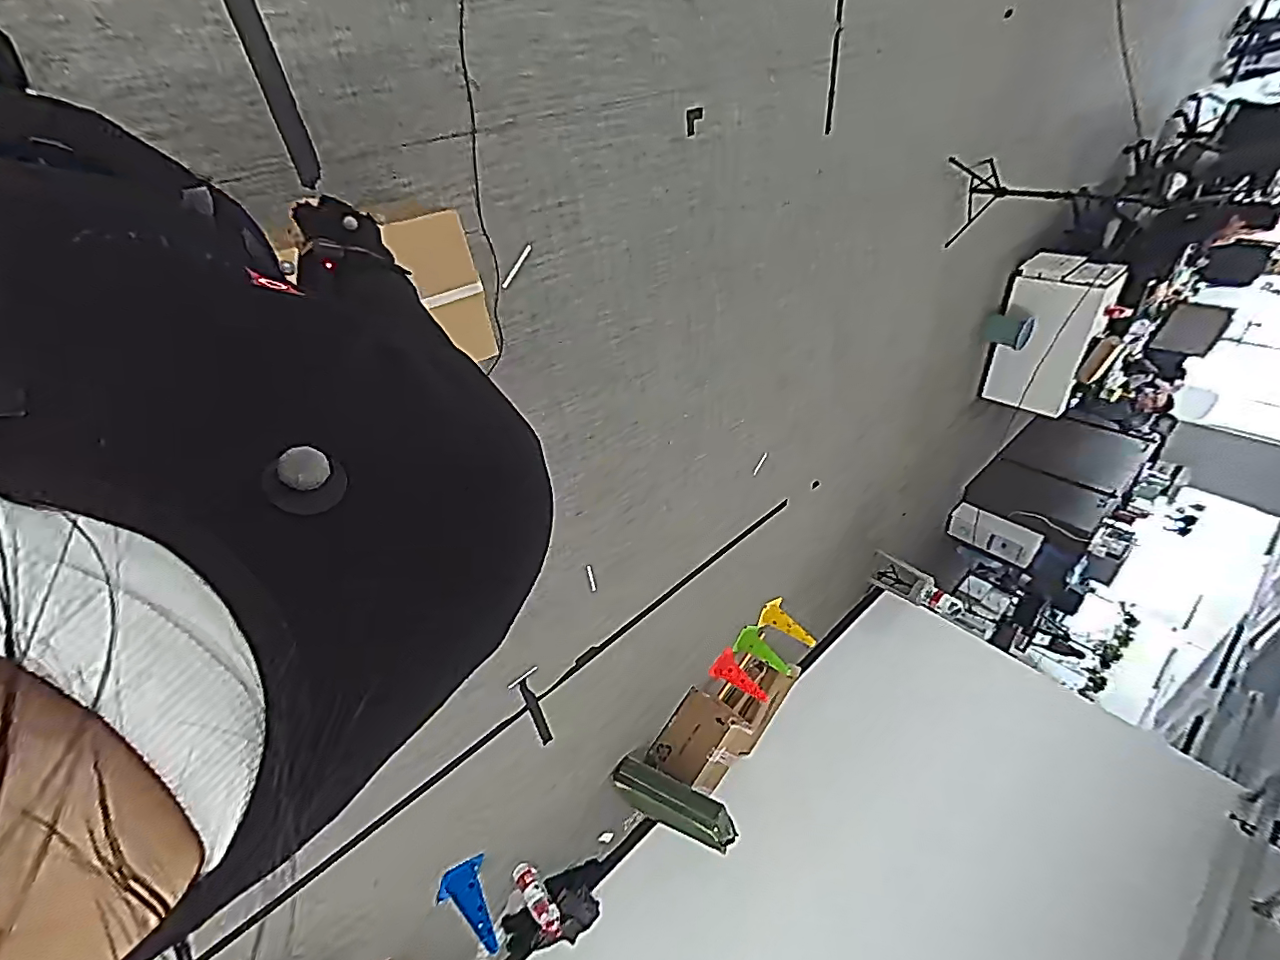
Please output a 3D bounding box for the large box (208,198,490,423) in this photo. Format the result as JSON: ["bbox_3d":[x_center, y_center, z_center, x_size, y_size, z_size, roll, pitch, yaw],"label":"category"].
[{"bbox_3d":[-0.603,-0.383,1.155,0.408,0.320,0.320,-30,131,-27],"label":"large box"}]
